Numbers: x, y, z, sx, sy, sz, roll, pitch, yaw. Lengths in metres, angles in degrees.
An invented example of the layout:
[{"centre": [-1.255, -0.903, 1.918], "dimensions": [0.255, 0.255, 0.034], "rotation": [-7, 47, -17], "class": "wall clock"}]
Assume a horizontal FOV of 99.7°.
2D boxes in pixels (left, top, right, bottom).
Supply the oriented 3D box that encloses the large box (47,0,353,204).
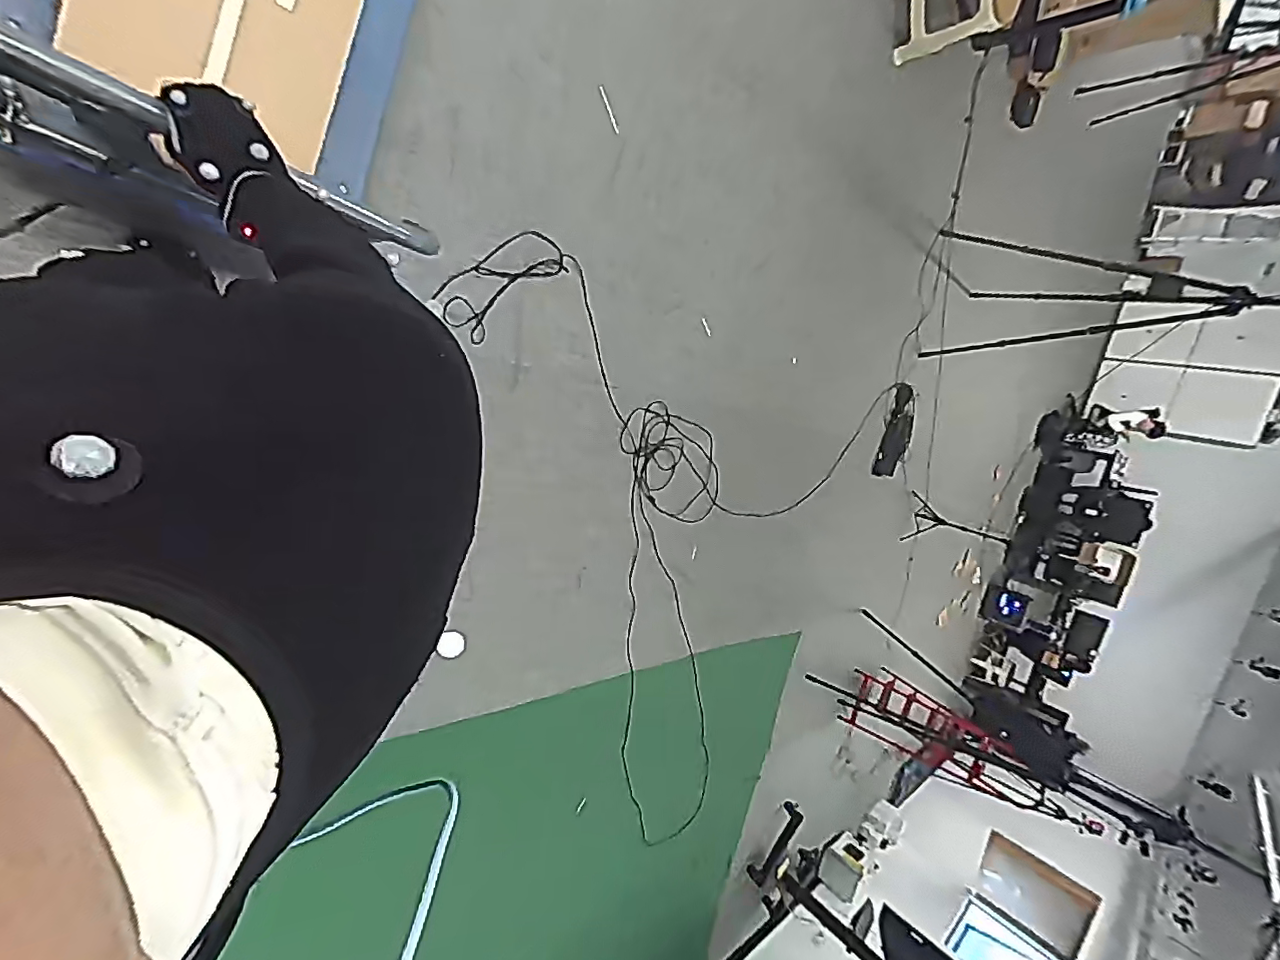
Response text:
[{"centre": [-0.728, -0.756, 0.921], "dimensions": [0.320, 0.320, 0.408], "rotation": [15, 94, -46], "class": "large box"}]
